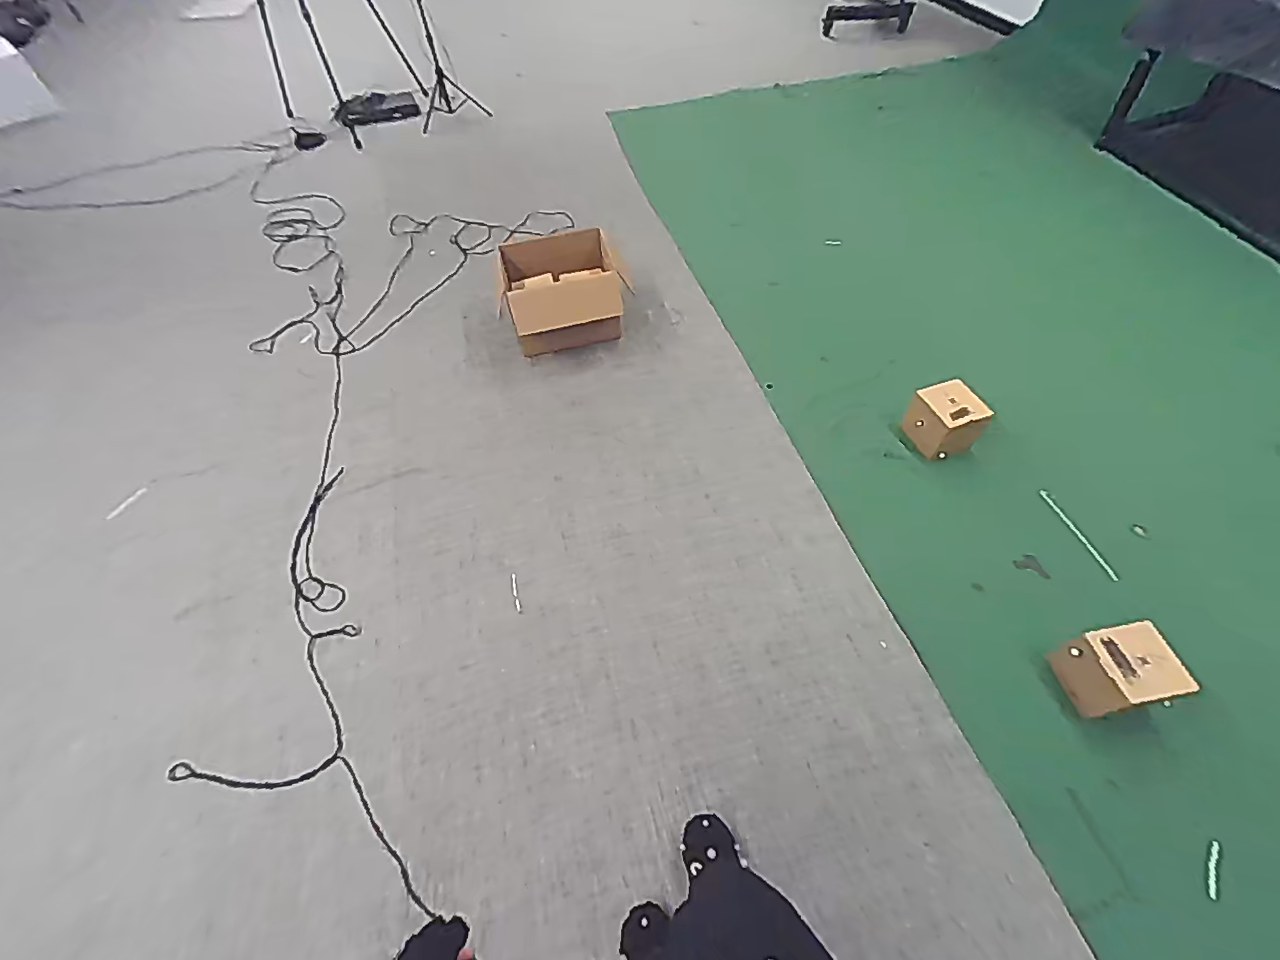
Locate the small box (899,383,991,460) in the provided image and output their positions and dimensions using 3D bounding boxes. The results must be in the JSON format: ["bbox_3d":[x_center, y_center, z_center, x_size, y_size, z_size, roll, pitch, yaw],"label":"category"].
[{"bbox_3d":[0.992,-0.184,1.773,0.168,0.176,0.179,-16,54,-9],"label":"small box"}]
